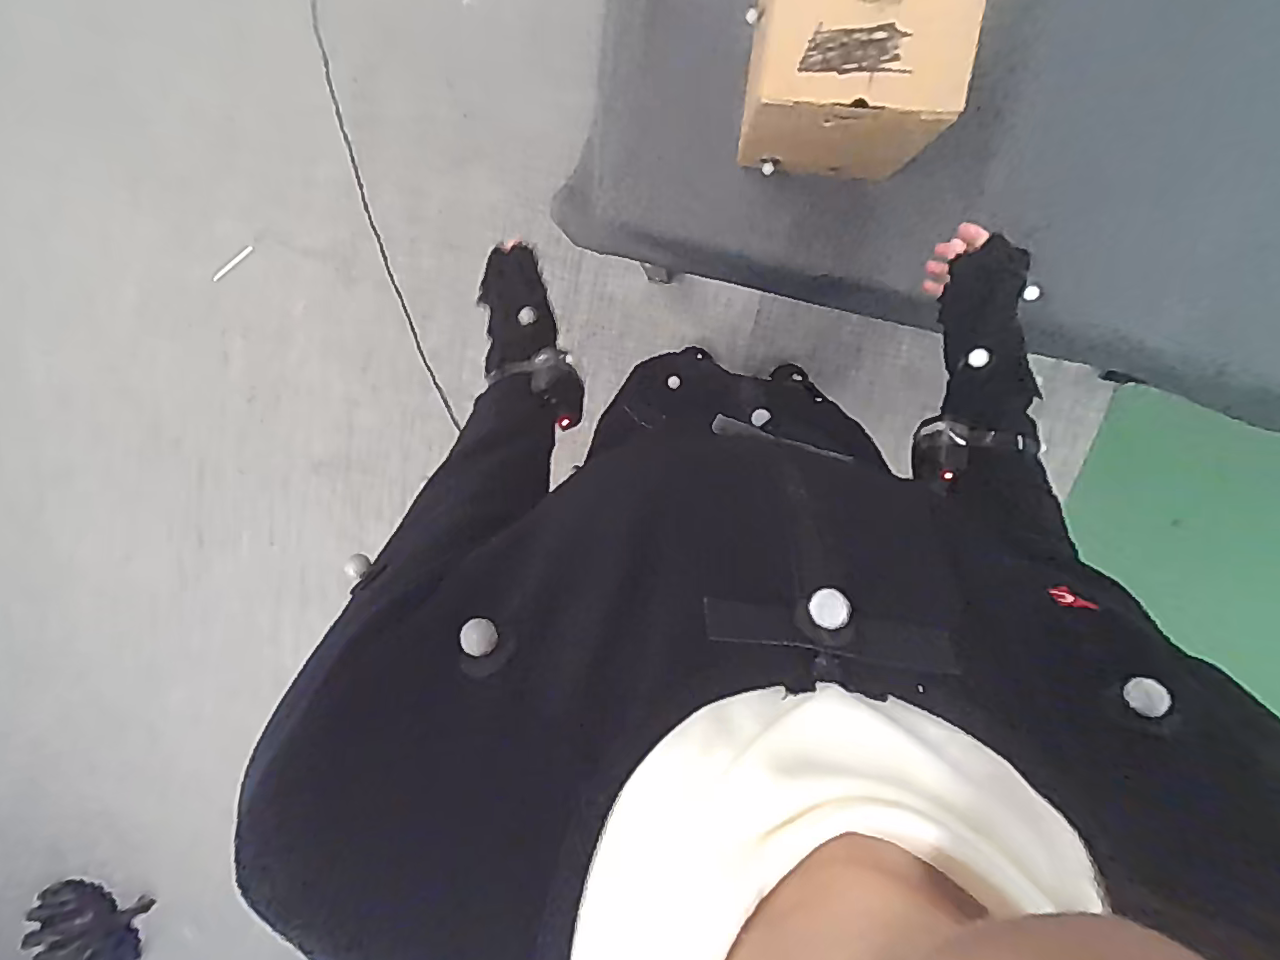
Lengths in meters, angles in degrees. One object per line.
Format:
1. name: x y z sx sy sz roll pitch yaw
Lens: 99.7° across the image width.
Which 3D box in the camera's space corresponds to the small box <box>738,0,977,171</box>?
1. small box: 0.189 -0.410 0.502 0.168 0.176 0.179 7 103 2
